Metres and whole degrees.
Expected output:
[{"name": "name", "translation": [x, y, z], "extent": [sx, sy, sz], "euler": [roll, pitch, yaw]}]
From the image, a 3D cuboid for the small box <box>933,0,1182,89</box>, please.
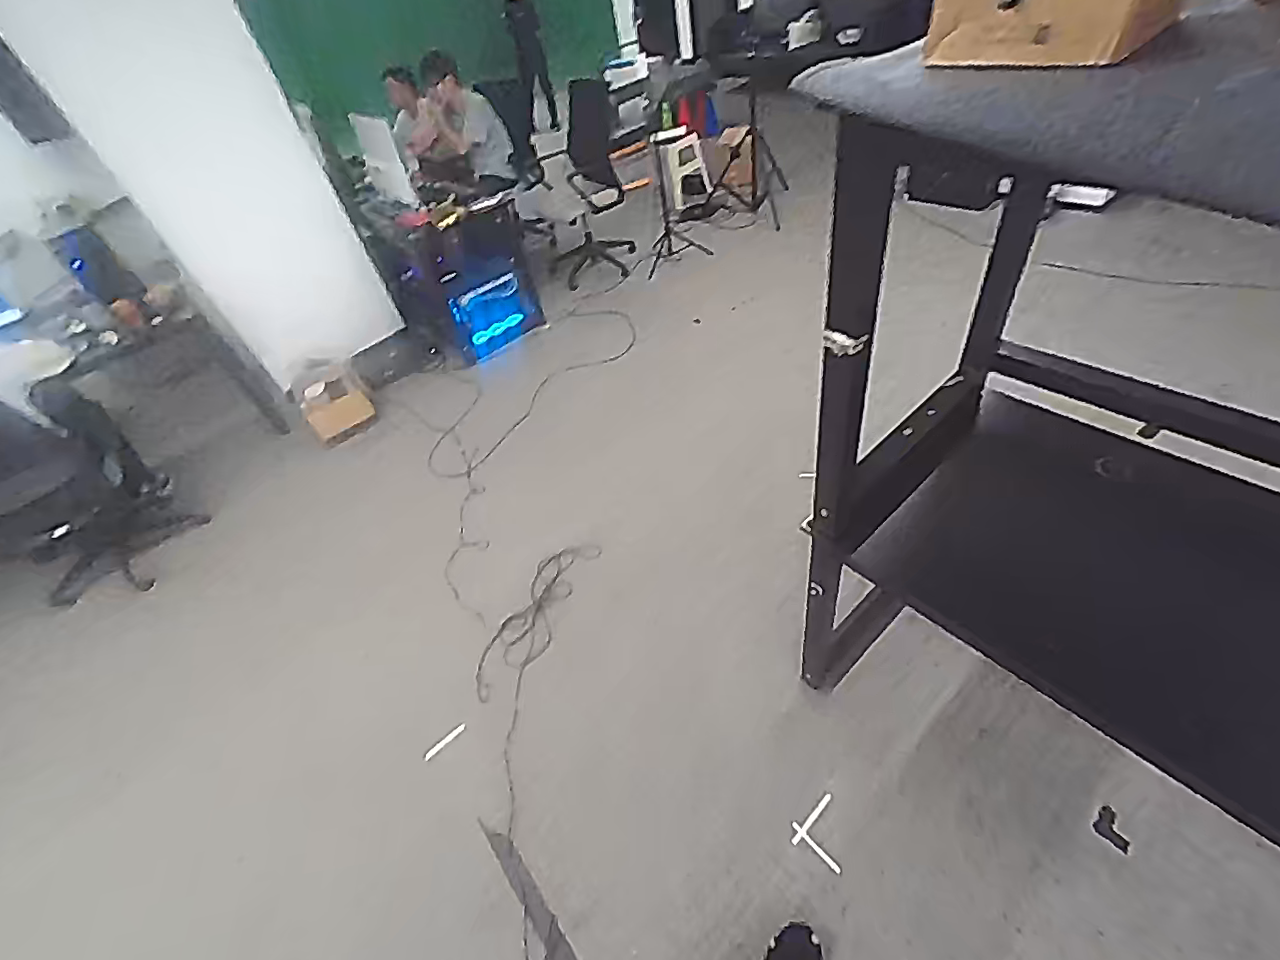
[{"name": "small box", "translation": [0.398, -0.482, 0.492], "extent": [0.179, 0.176, 0.168], "euler": [-39, 51, -24]}]
